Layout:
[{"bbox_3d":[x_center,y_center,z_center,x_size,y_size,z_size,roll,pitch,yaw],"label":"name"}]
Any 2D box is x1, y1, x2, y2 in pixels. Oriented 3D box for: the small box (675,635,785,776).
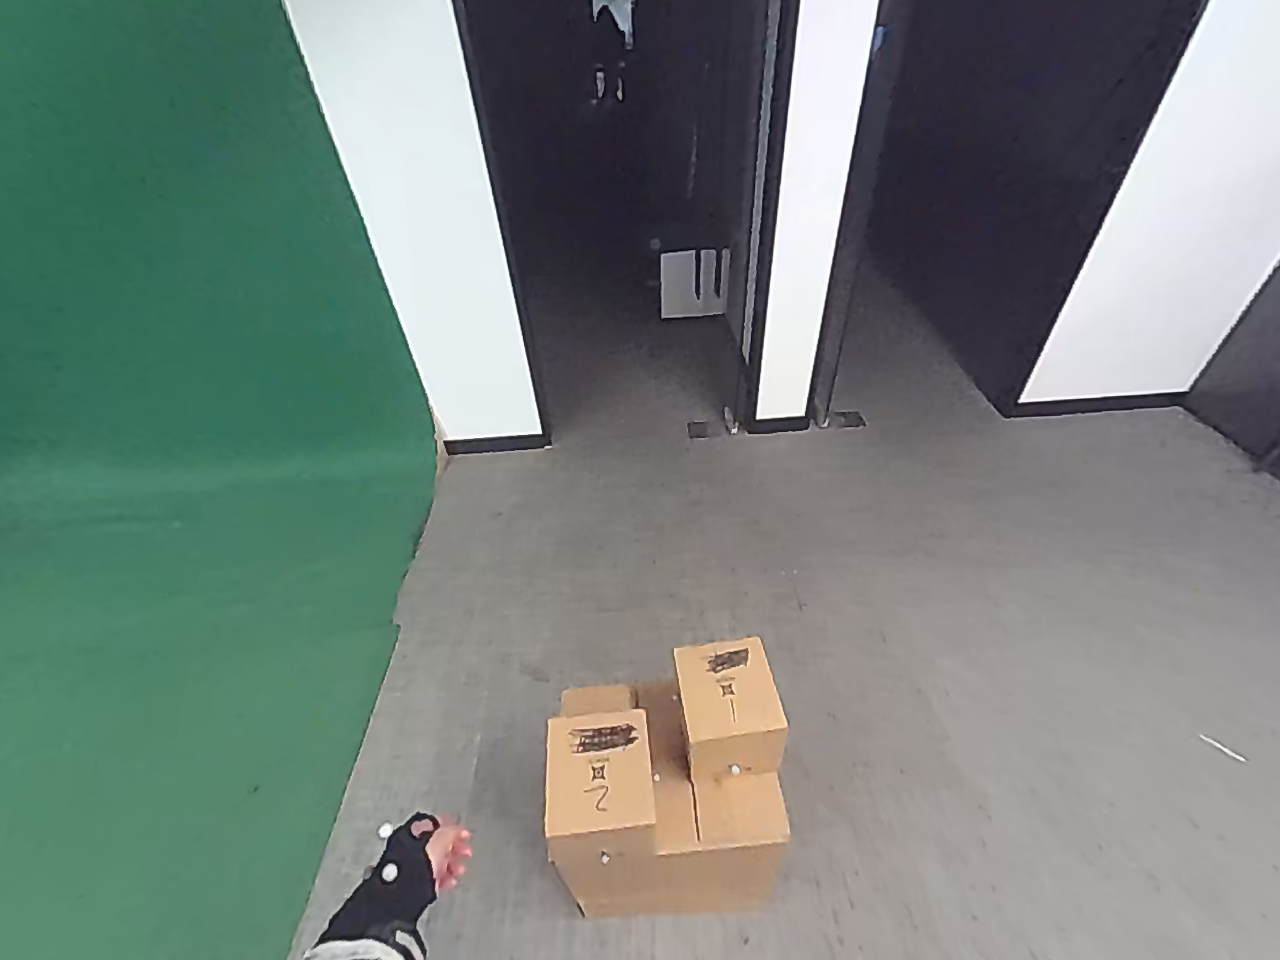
[{"bbox_3d":[0.157,0.416,0.999,0.168,0.176,0.179,-8,42,-1],"label":"small box"}]
